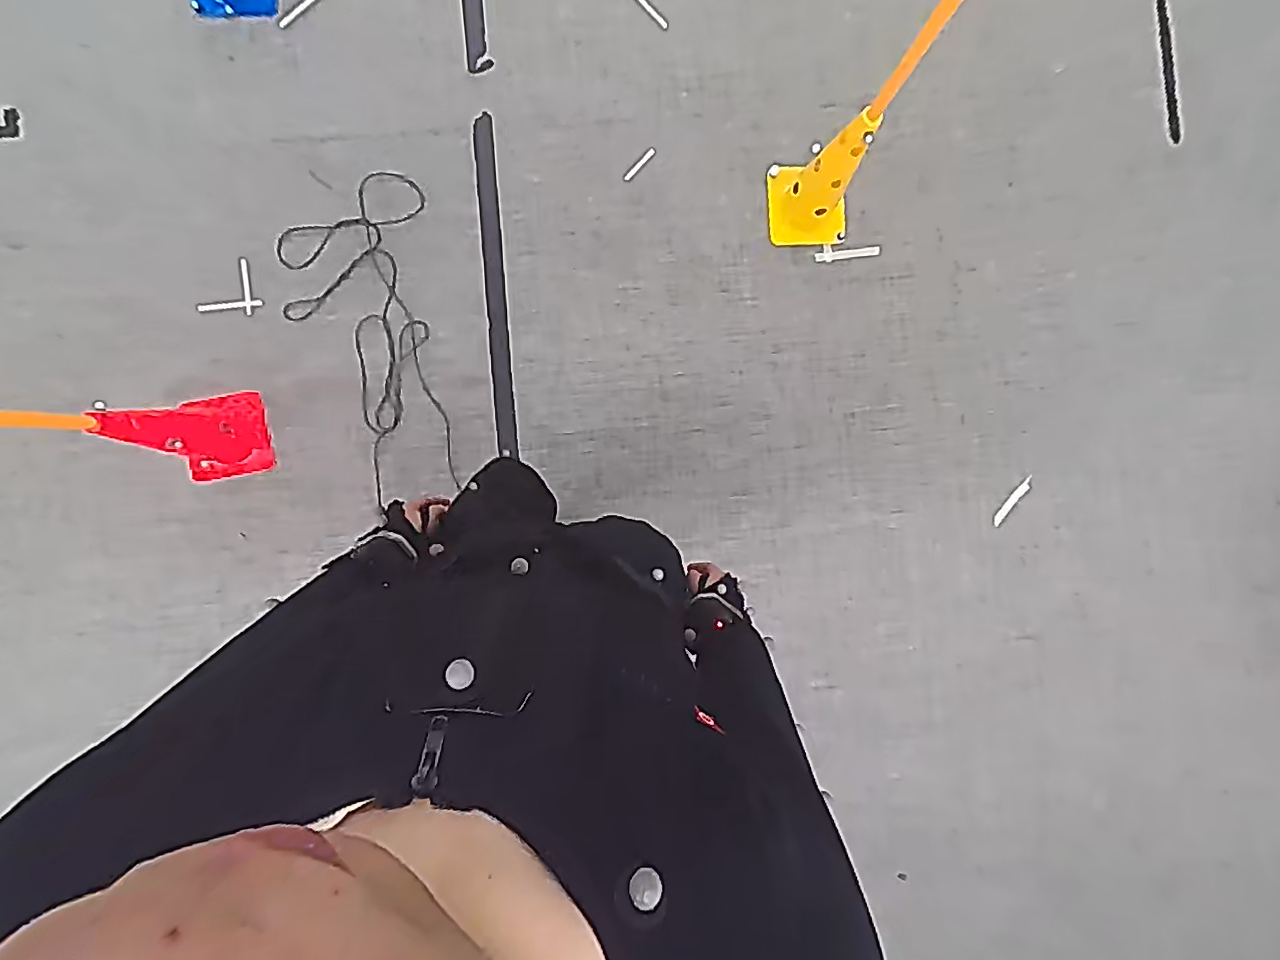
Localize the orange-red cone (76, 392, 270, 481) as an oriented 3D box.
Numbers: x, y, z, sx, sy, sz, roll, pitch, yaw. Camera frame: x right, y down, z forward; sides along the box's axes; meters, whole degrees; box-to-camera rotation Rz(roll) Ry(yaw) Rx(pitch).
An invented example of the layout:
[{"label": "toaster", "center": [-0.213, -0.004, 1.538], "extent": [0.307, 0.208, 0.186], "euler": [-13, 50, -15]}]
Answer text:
[{"label": "orange-red cone", "center": [-0.994, -0.104, 1.136], "extent": [0.199, 0.360, 0.198], "euler": [-10, 91, -4]}]

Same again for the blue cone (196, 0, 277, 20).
[{"label": "blue cone", "center": [-0.975, -1.215, 1.147], "extent": [0.193, 0.380, 0.192], "euler": [-2, 91, -3]}]
